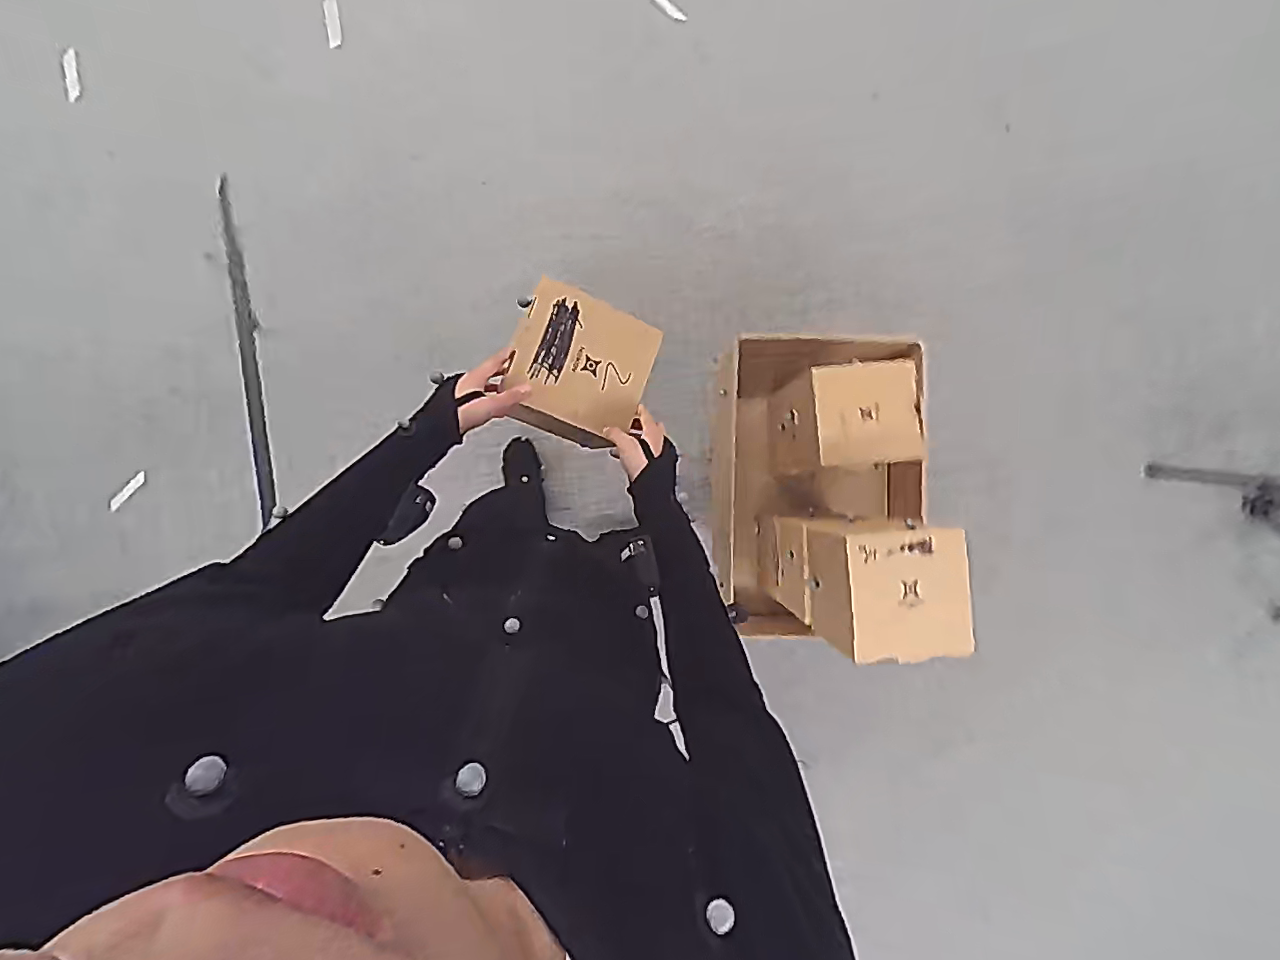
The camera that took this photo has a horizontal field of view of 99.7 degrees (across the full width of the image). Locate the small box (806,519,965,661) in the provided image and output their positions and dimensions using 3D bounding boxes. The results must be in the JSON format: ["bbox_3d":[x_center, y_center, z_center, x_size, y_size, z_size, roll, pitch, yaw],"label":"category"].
[{"bbox_3d":[0.359,0.156,0.815,0.168,0.176,0.179,-3,90,-2],"label":"small box"}]

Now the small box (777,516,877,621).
[{"bbox_3d":[0.353,0.154,0.979,0.179,0.176,0.168,-1,90,-2],"label":"small box"}]

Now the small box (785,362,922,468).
[{"bbox_3d":[0.377,-0.110,0.977,0.179,0.176,0.168,-4,89,-1],"label":"small box"}]
